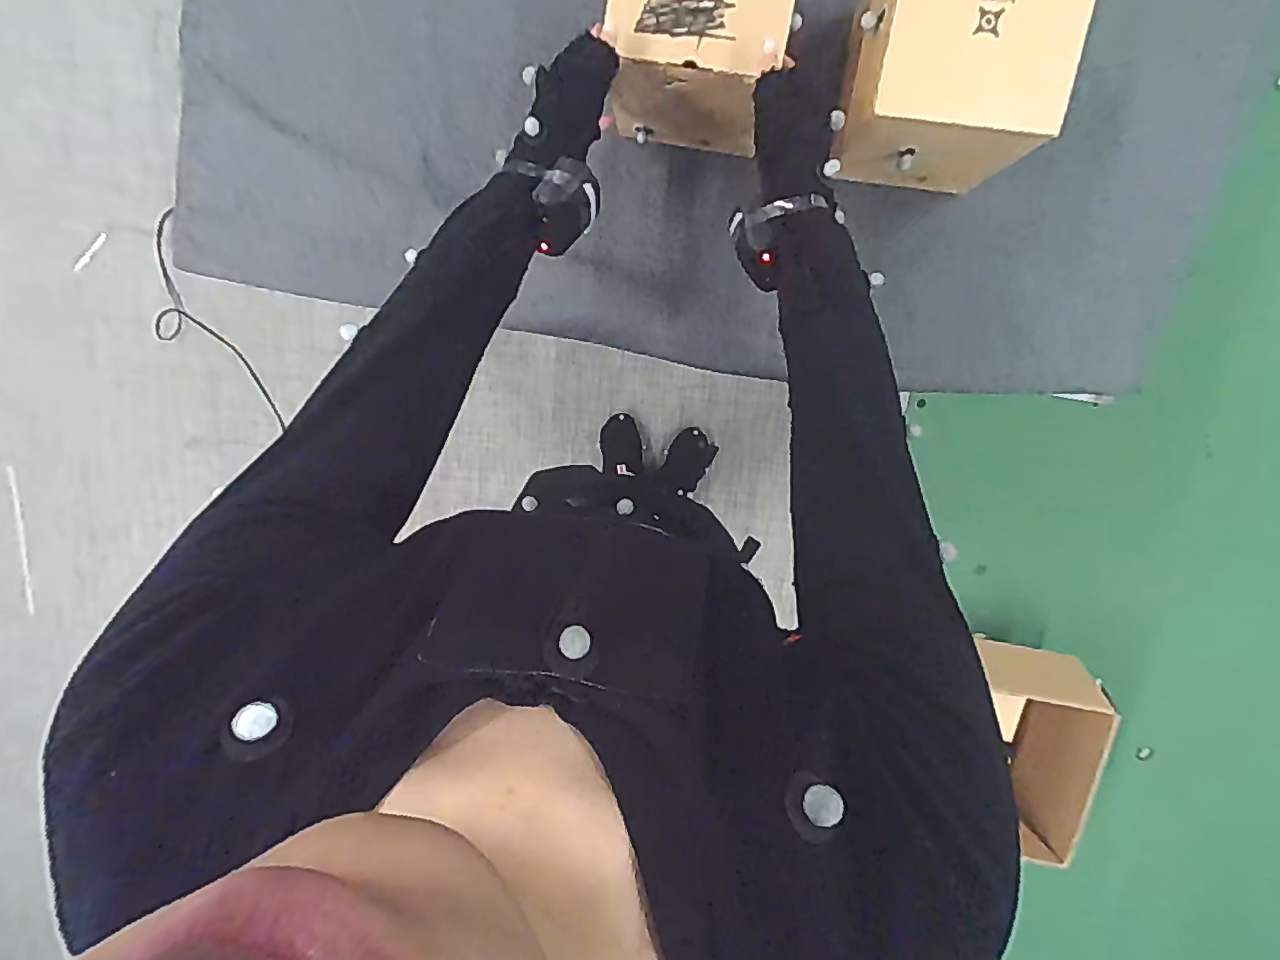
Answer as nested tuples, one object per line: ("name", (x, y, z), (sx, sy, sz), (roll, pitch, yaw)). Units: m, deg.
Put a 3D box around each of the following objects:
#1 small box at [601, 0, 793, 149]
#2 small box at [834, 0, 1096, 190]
("small box", (0.065, -0.468, 0.546), (0.168, 0.176, 0.179), (11, 101, 2))
("small box", (0.307, -0.414, 0.540), (0.168, 0.176, 0.179), (9, 101, 3))
